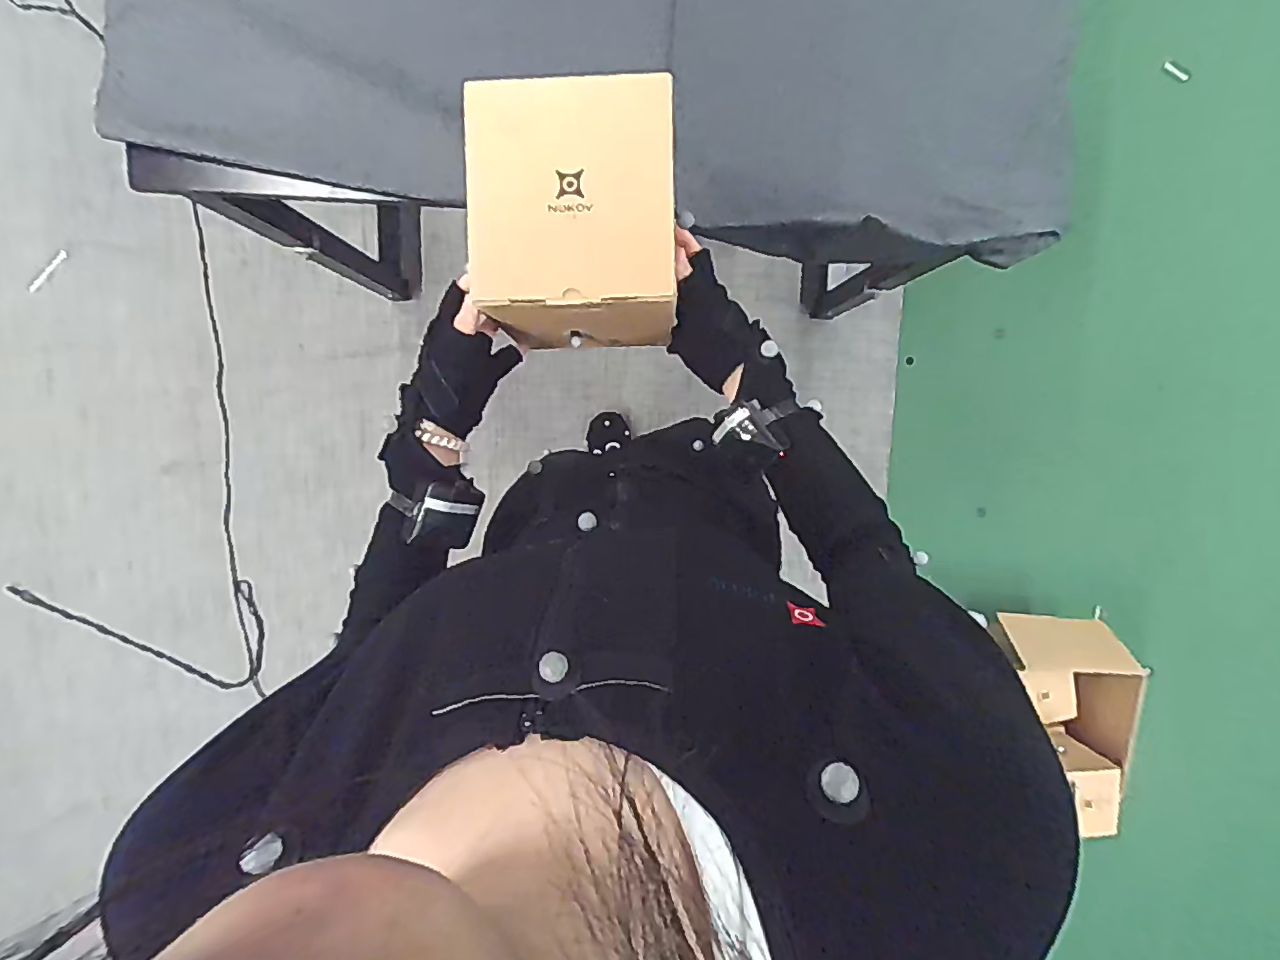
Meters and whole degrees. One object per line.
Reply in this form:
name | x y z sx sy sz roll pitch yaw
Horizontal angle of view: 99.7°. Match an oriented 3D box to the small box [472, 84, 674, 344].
small box | -0.054 -0.237 0.521 0.168 0.176 0.179 -1 93 1
